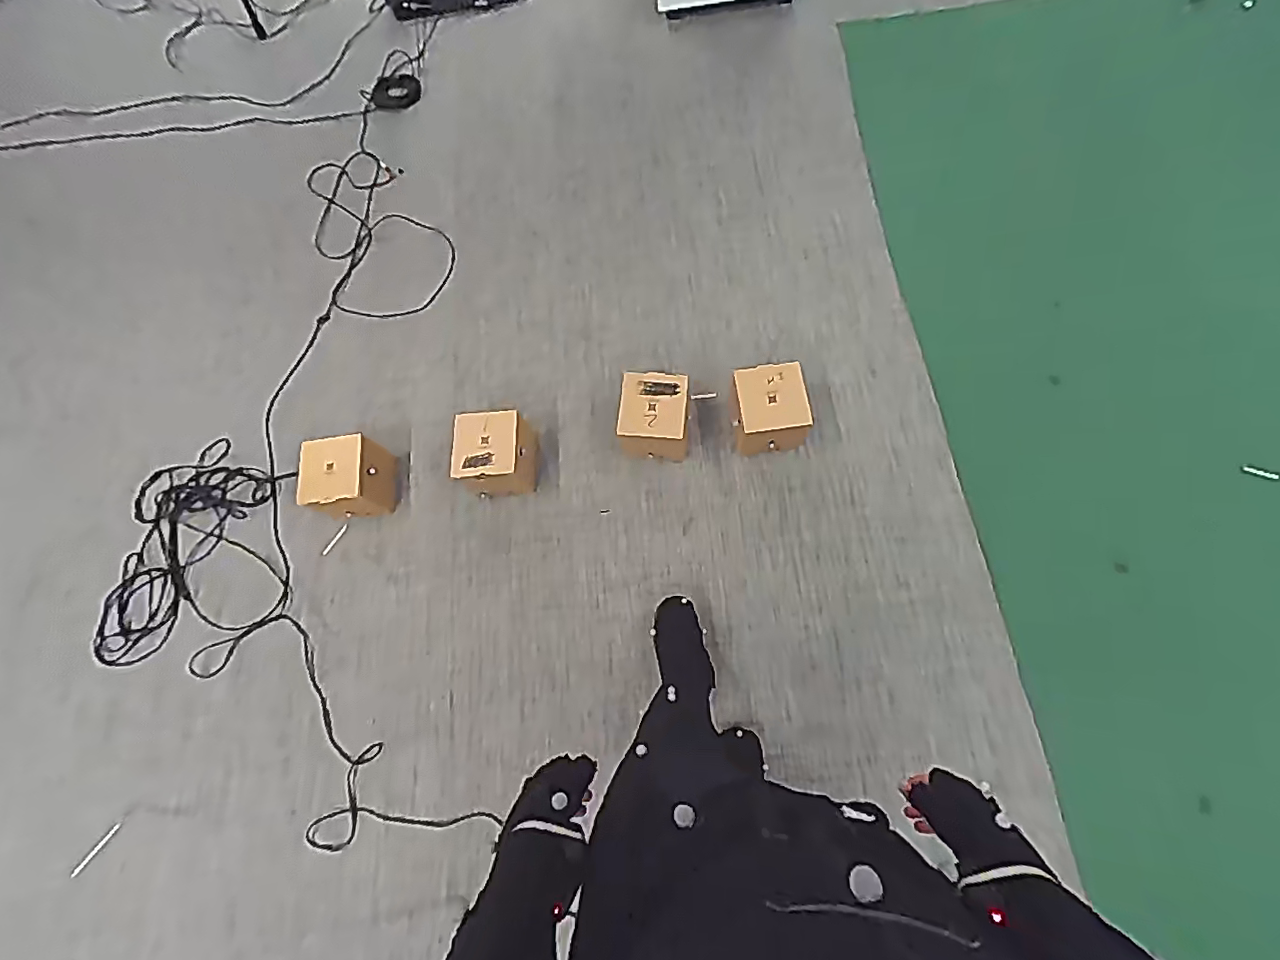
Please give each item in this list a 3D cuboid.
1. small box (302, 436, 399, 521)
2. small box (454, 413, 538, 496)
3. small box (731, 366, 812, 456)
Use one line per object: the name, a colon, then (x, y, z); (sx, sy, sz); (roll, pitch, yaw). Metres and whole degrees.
small box: (-0.774, 0.001, 1.462); (0.168, 0.176, 0.179); (-8, 72, 4)
small box: (-0.376, -0.060, 1.438); (0.168, 0.176, 0.179); (-4, 71, 5)
small box: (0.333, -0.170, 1.401); (0.168, 0.176, 0.179); (-7, 72, 2)
